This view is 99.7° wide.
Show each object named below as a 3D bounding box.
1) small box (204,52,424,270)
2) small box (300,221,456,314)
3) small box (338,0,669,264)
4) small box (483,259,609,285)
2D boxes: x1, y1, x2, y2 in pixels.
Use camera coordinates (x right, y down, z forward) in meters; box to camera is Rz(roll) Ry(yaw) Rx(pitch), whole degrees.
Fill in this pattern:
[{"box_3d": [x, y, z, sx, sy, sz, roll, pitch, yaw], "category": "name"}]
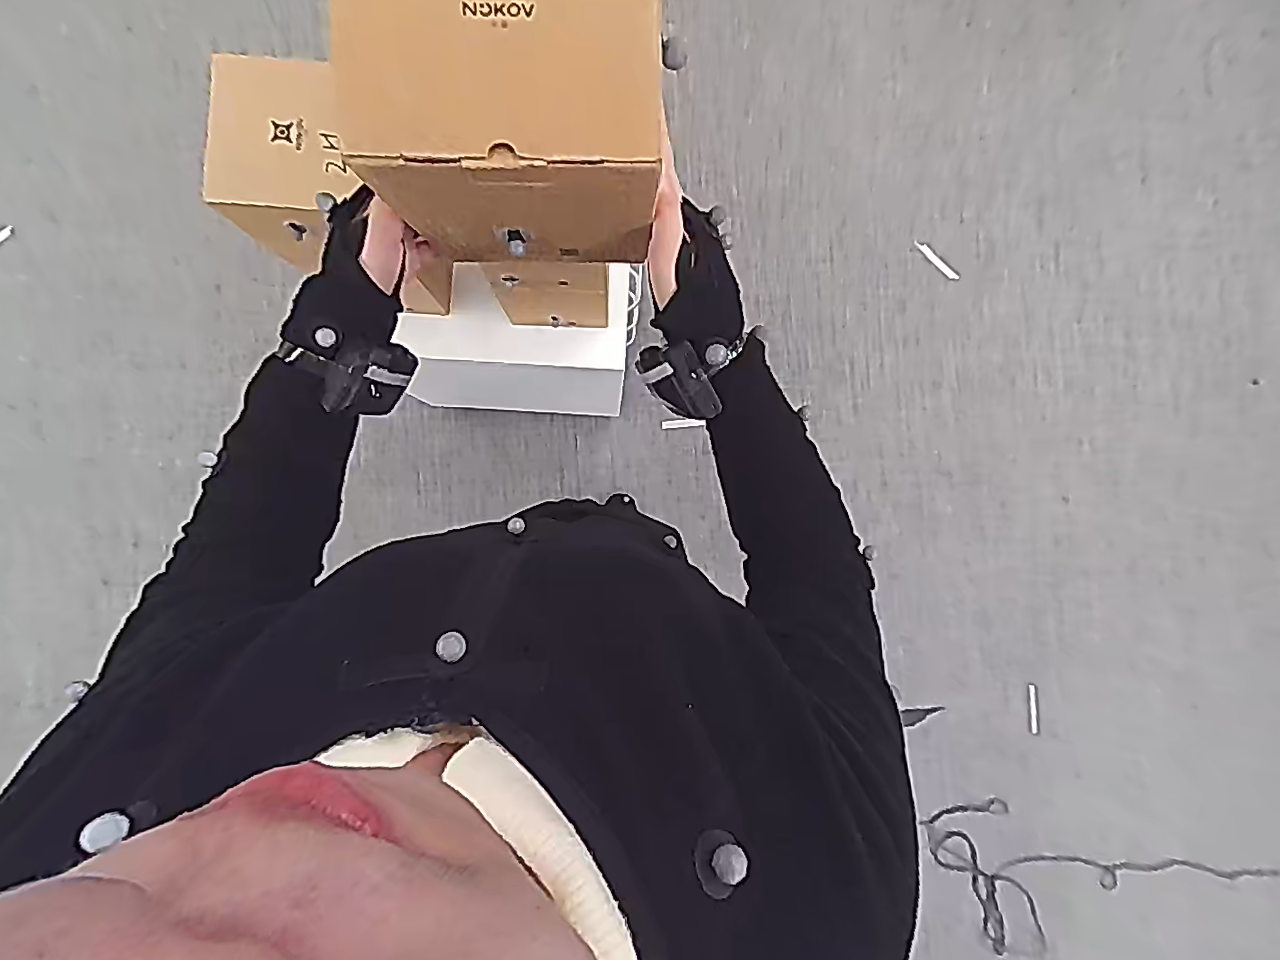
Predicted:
[{"box_3d": [-0.381, -0.375, 0.665, 0.179, 0.176, 0.168, 3, 89, -3], "category": "small box"}, {"box_3d": [-0.389, -0.375, 0.830, 0.168, 0.176, 0.179, 4, 87, -3], "category": "small box"}, {"box_3d": [-0.072, -0.256, 0.349, 0.168, 0.176, 0.179, -1, 97, -3], "category": "small box"}, {"box_3d": [-0.120, -0.361, 0.680, 0.168, 0.176, 0.179, 1, 88, -3], "category": "small box"}]
